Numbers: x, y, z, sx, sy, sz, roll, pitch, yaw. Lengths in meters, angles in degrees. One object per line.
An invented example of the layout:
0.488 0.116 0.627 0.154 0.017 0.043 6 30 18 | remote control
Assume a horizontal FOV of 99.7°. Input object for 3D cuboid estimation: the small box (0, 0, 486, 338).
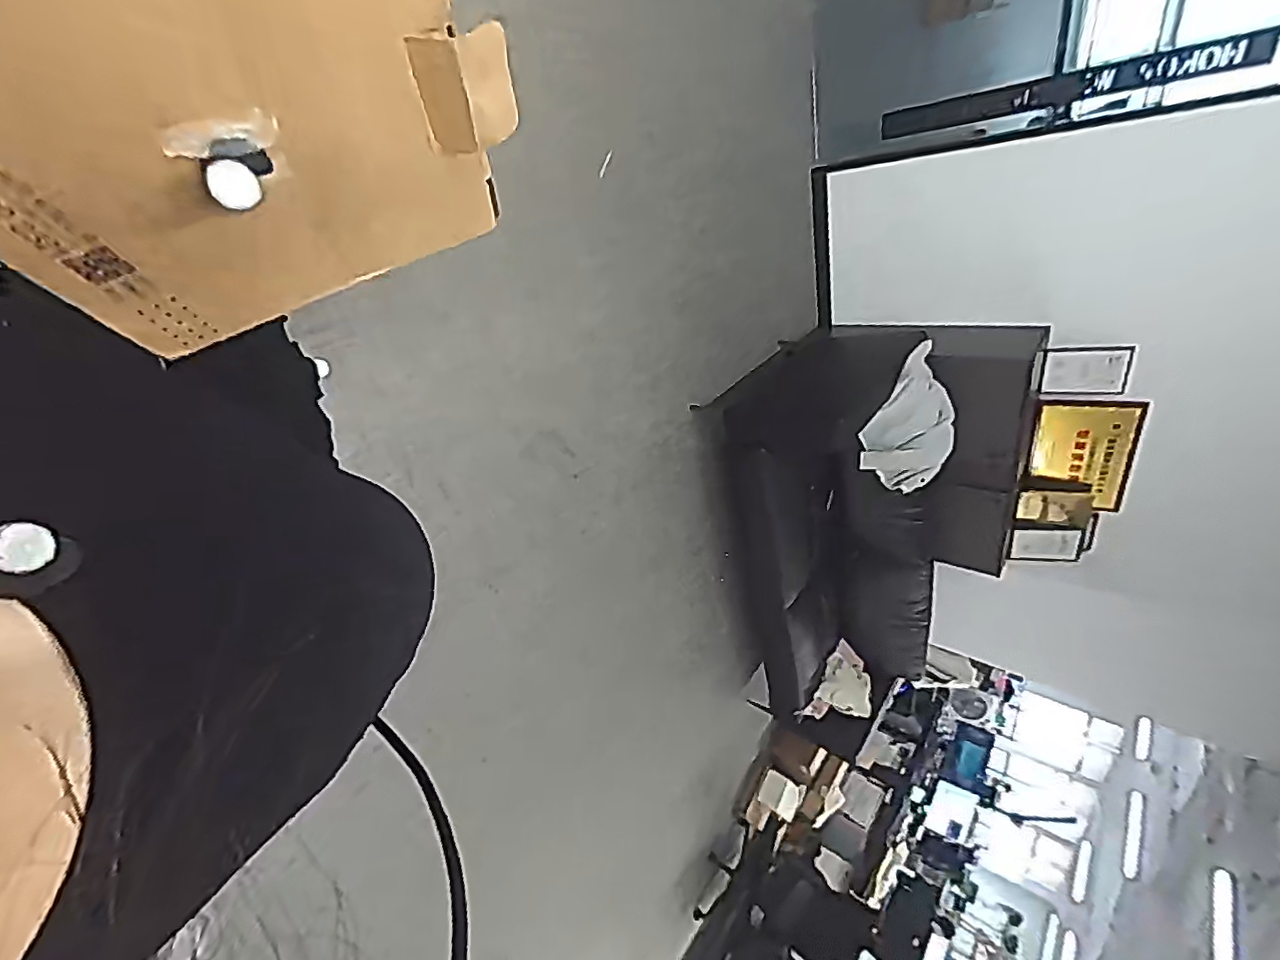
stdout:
-0.186 -0.185 0.206 0.176 0.168 0.179 -28 83 -12 | small box
